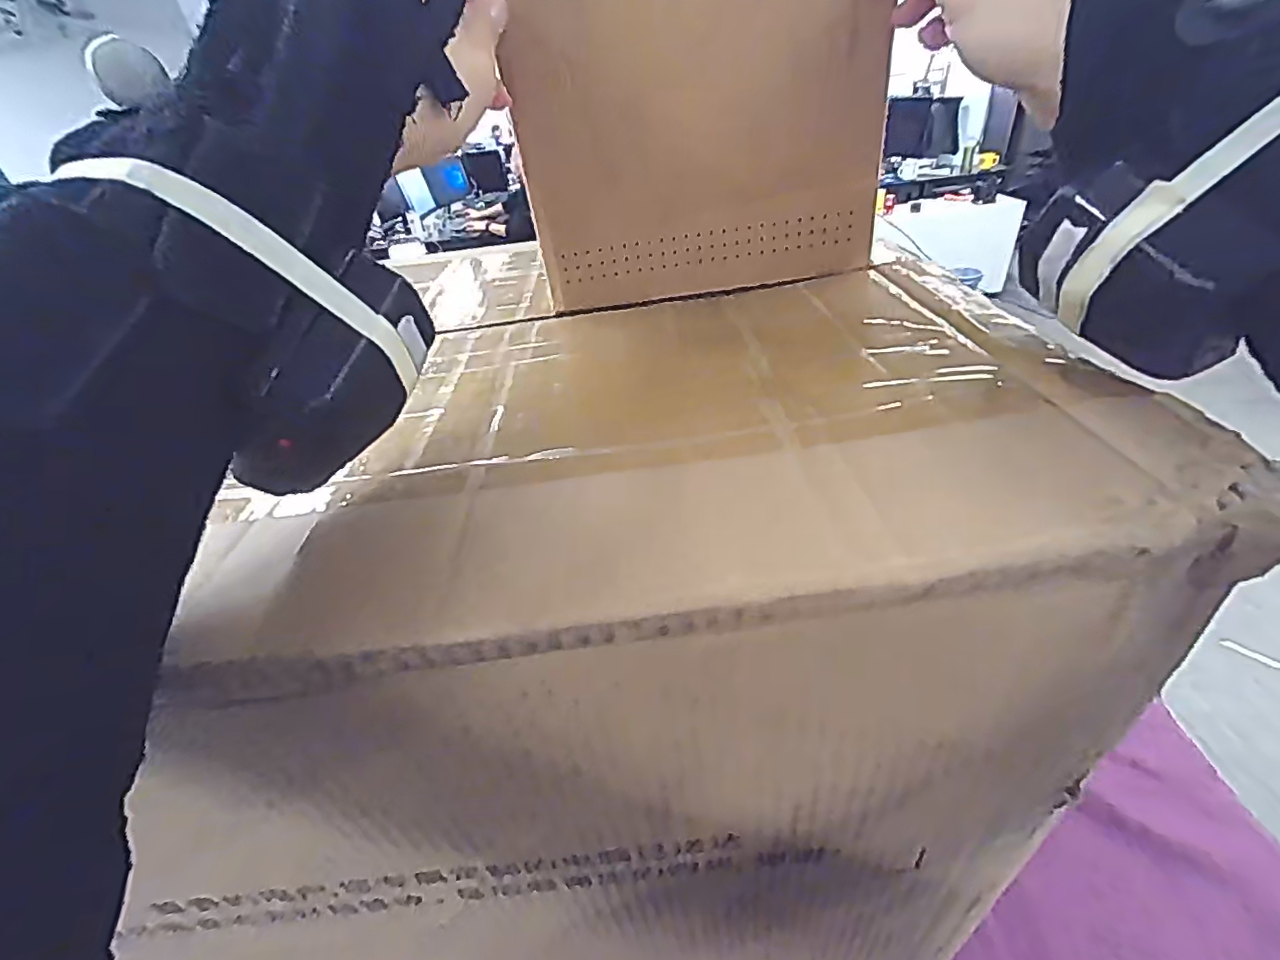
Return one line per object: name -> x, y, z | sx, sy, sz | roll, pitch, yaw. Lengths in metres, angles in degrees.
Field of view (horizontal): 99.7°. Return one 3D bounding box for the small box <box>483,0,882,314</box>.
small box -> 0.024, -0.205, 0.311 | 0.179, 0.176, 0.168 | -7, 35, 2
